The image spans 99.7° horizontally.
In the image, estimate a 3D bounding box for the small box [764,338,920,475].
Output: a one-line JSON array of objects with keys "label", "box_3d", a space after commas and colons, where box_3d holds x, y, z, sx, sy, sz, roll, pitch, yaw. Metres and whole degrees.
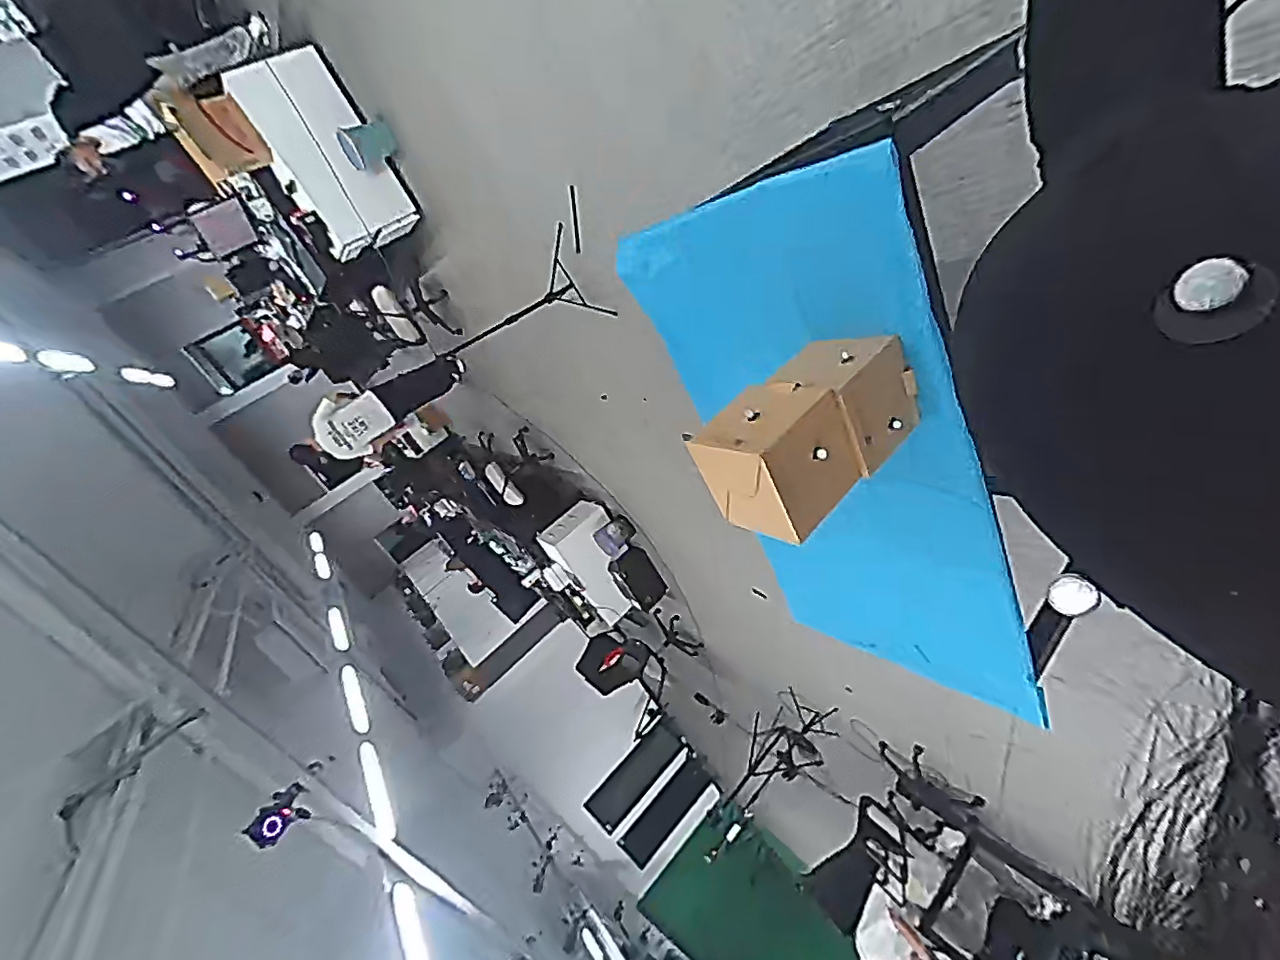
[{"label": "small box", "box_3d": [0.336, -0.123, 0.926, 0.179, 0.176, 0.168, 13, 139, 56]}]

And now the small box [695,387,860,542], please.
[{"label": "small box", "box_3d": [0.215, -0.030, 0.868, 0.168, 0.176, 0.179, 17, 144, 55]}]
